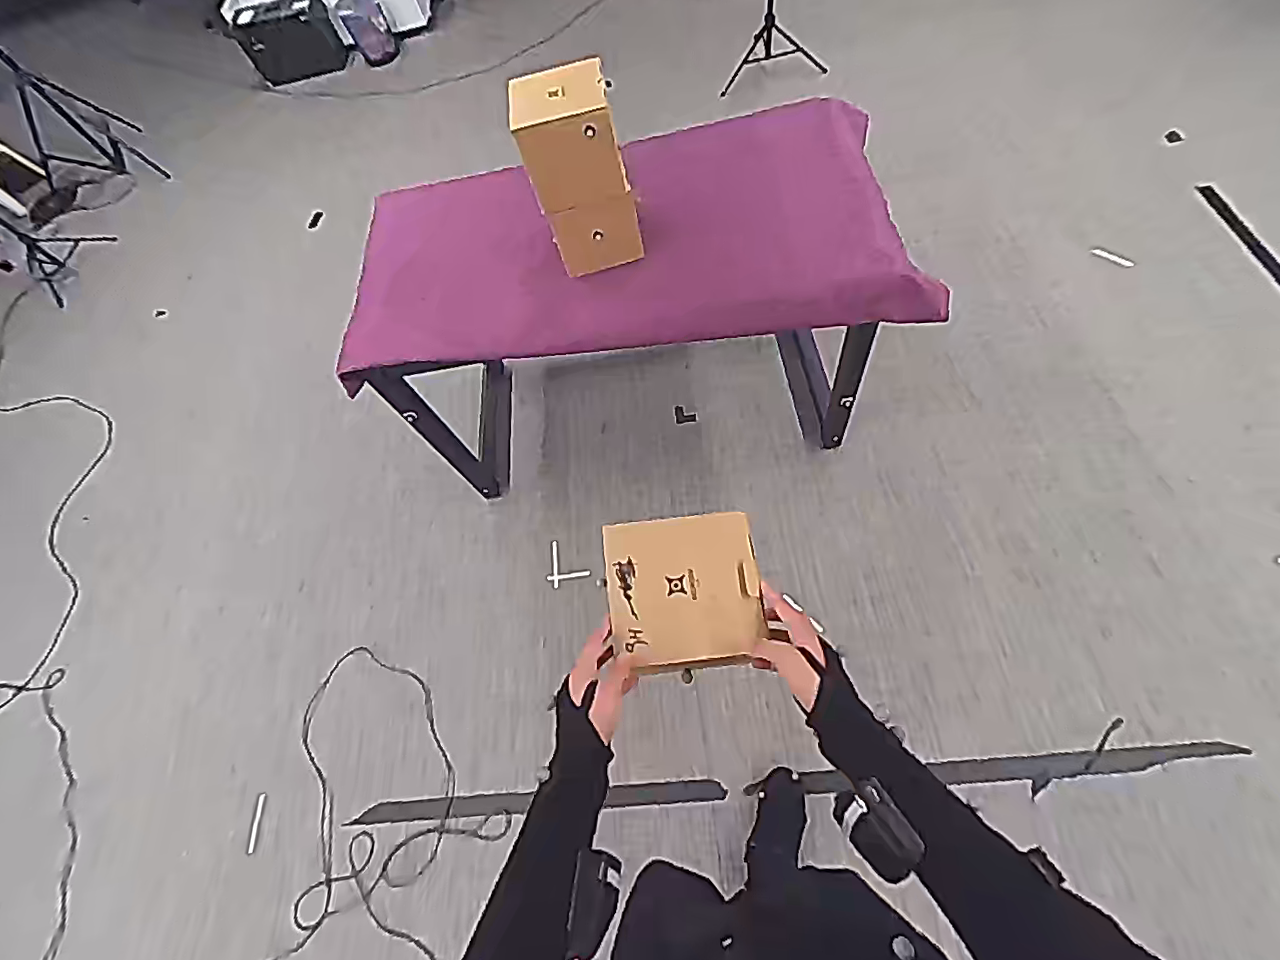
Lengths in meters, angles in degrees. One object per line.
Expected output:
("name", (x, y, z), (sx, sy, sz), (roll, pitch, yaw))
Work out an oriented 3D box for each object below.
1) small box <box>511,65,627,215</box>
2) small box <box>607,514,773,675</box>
("small box", (-0.132, -0.637, 1.029), (0.179, 0.176, 0.168), (-11, 62, 5))
("small box", (0.052, 0.152, 0.689), (0.179, 0.176, 0.168), (-5, 67, -2))
